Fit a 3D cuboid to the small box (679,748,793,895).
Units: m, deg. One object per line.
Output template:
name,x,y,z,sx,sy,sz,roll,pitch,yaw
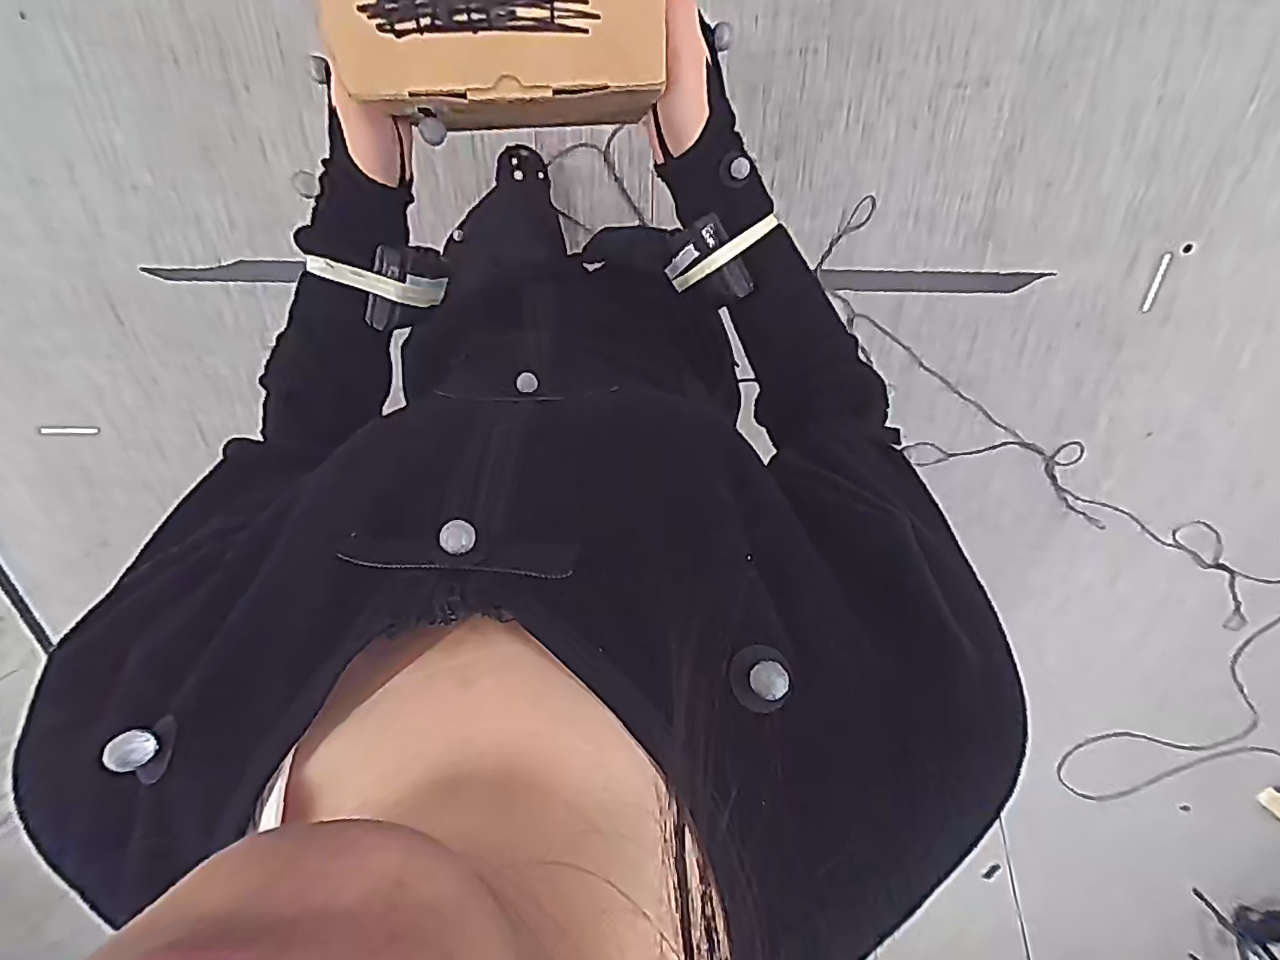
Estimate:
small box,0.162,0.610,0.976,0.179,0.176,0.168,-3,118,0
